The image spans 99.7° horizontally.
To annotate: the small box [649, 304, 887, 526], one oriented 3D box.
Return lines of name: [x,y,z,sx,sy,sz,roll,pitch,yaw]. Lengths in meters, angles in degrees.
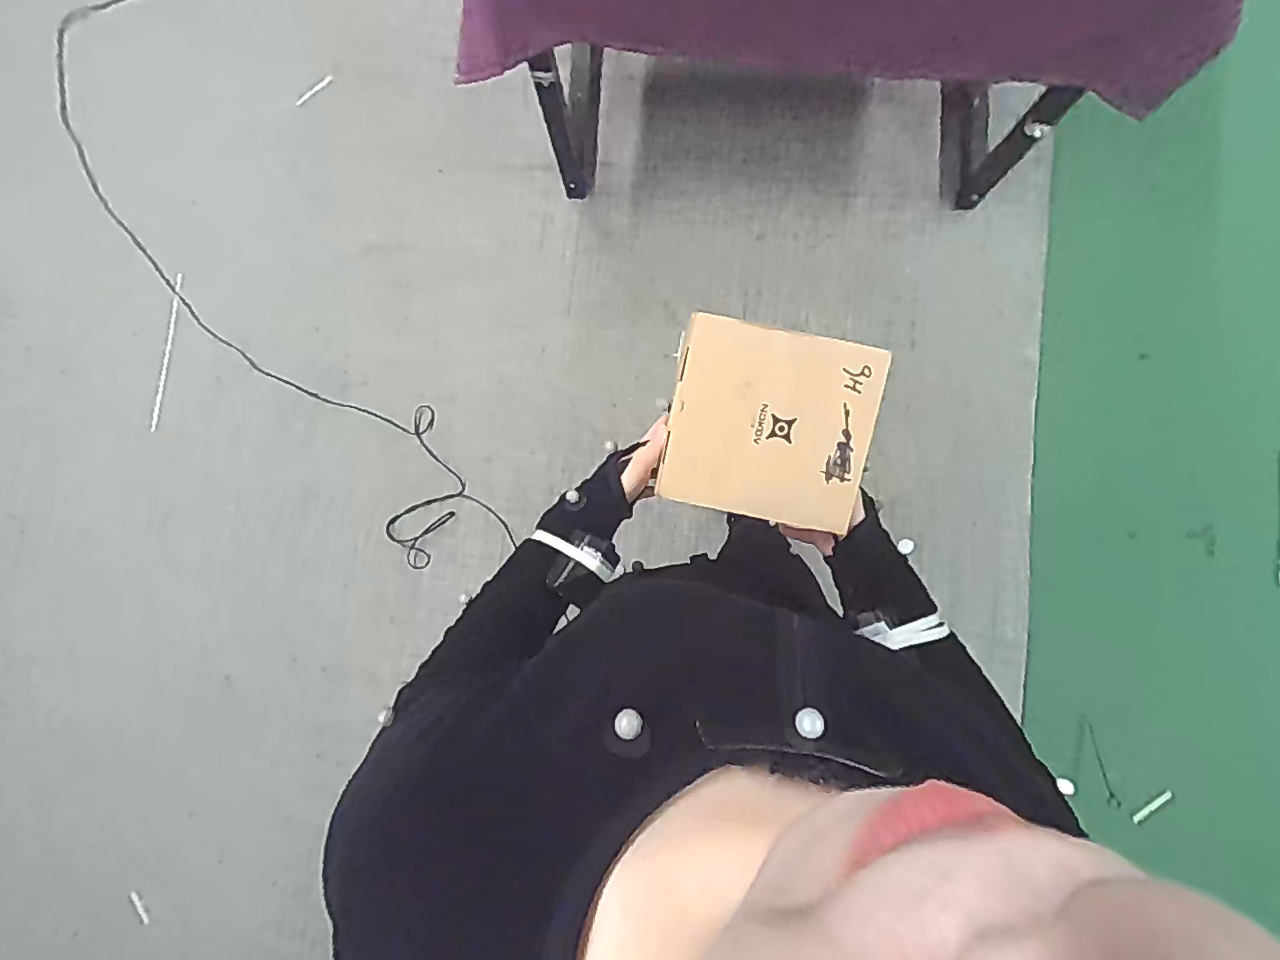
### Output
small box: [0.113,-0.063,0.547,0.179,0.176,0.168,12,97,1]
